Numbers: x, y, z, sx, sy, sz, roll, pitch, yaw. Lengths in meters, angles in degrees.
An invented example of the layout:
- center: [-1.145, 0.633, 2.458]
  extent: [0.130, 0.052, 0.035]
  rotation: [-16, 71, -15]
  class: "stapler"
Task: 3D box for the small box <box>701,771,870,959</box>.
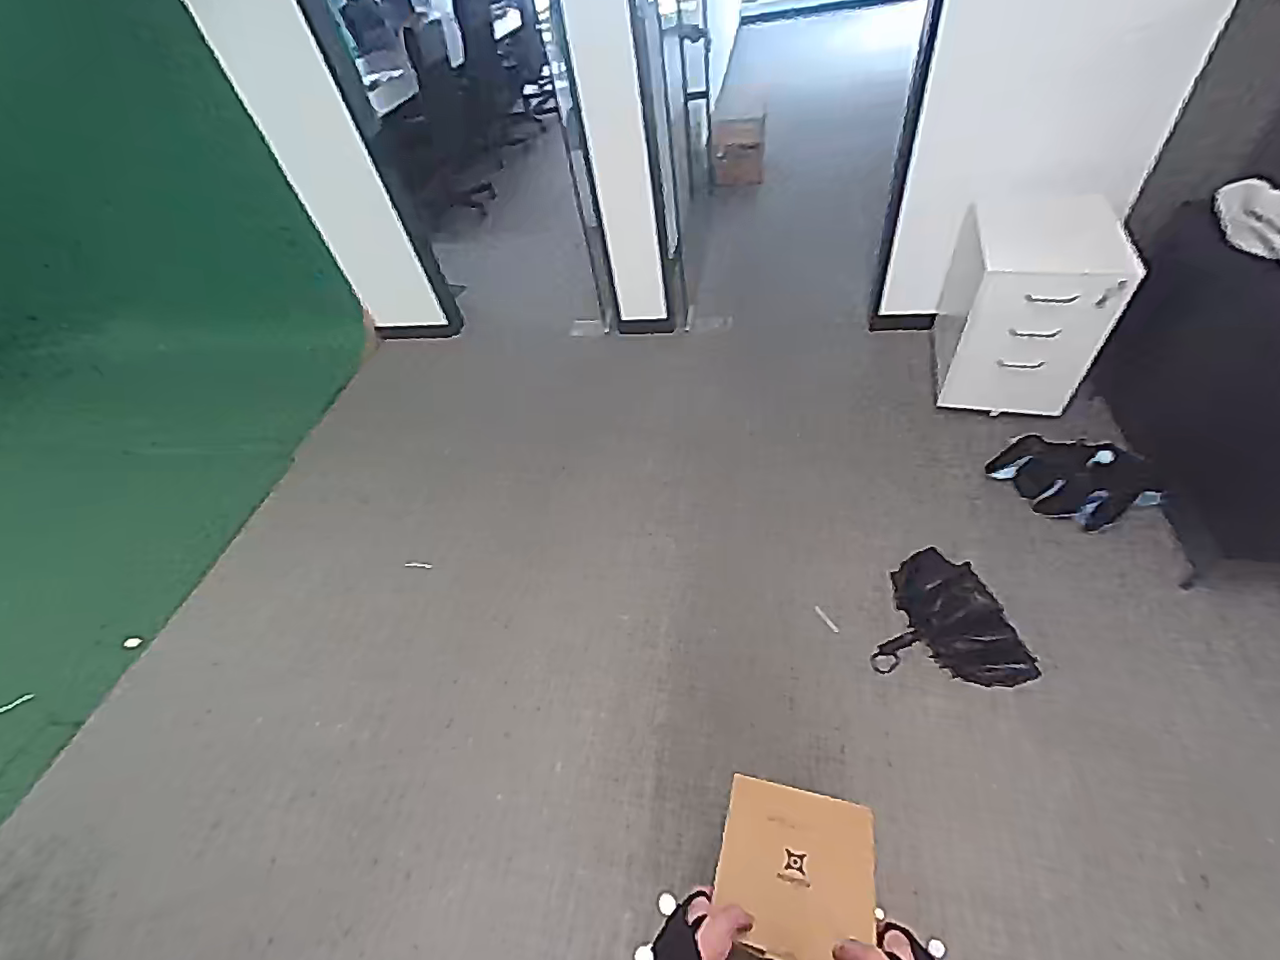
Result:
- center: [0.172, 0.489, 0.634]
  extent: [0.168, 0.176, 0.179]
  rotation: [5, 32, 18]
  class: "small box"
